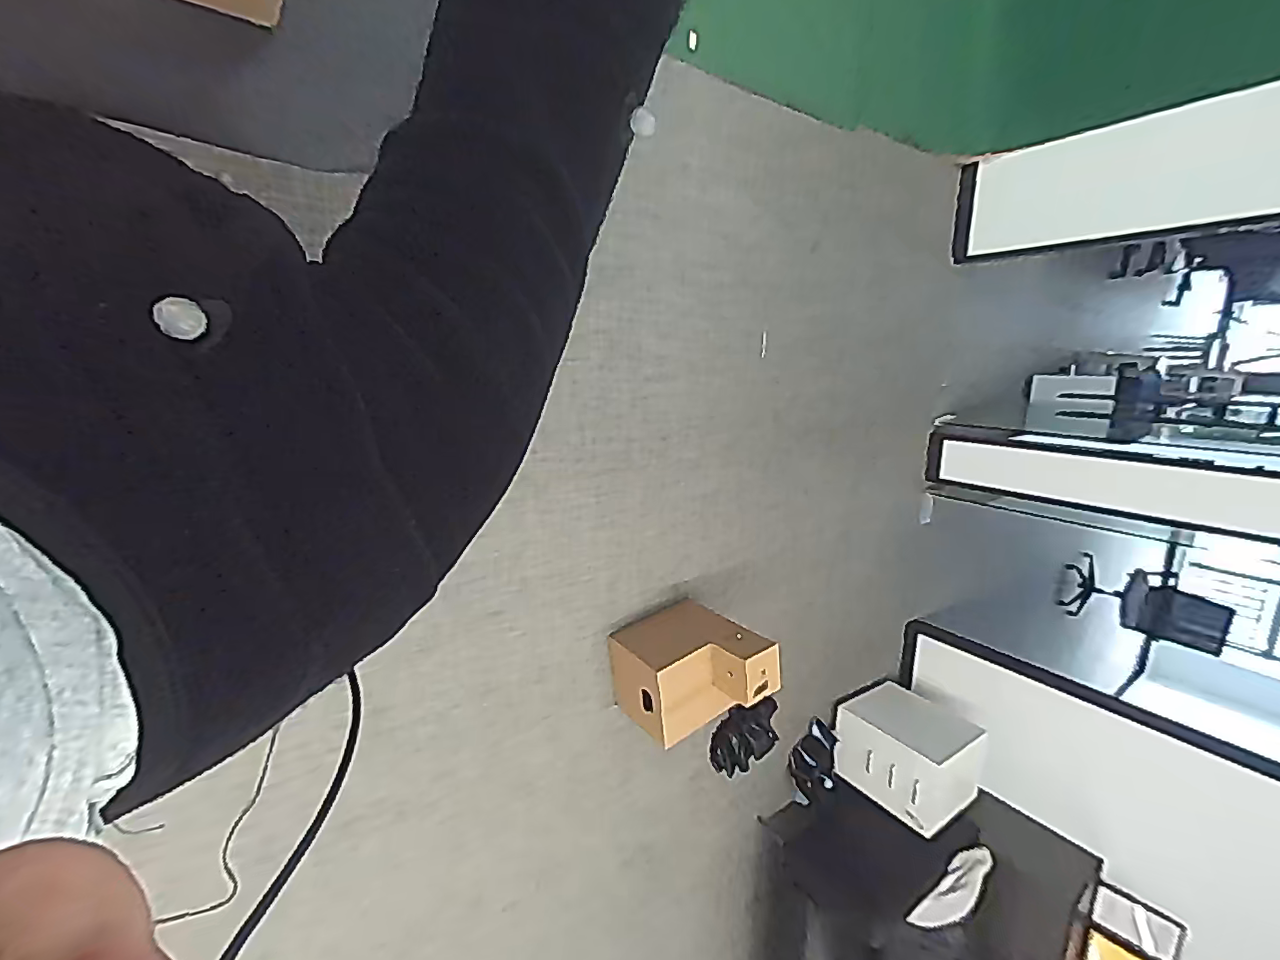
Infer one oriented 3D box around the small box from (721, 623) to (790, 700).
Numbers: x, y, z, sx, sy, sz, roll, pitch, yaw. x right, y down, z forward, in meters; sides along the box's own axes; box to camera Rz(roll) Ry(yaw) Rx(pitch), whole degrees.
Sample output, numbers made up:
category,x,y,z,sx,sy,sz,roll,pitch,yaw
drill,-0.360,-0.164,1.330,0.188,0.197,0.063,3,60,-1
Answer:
category,x,y,z,sx,sy,sz,roll,pitch,yaw
small box,0.401,0.629,1.892,0.168,0.176,0.179,-15,103,-34
